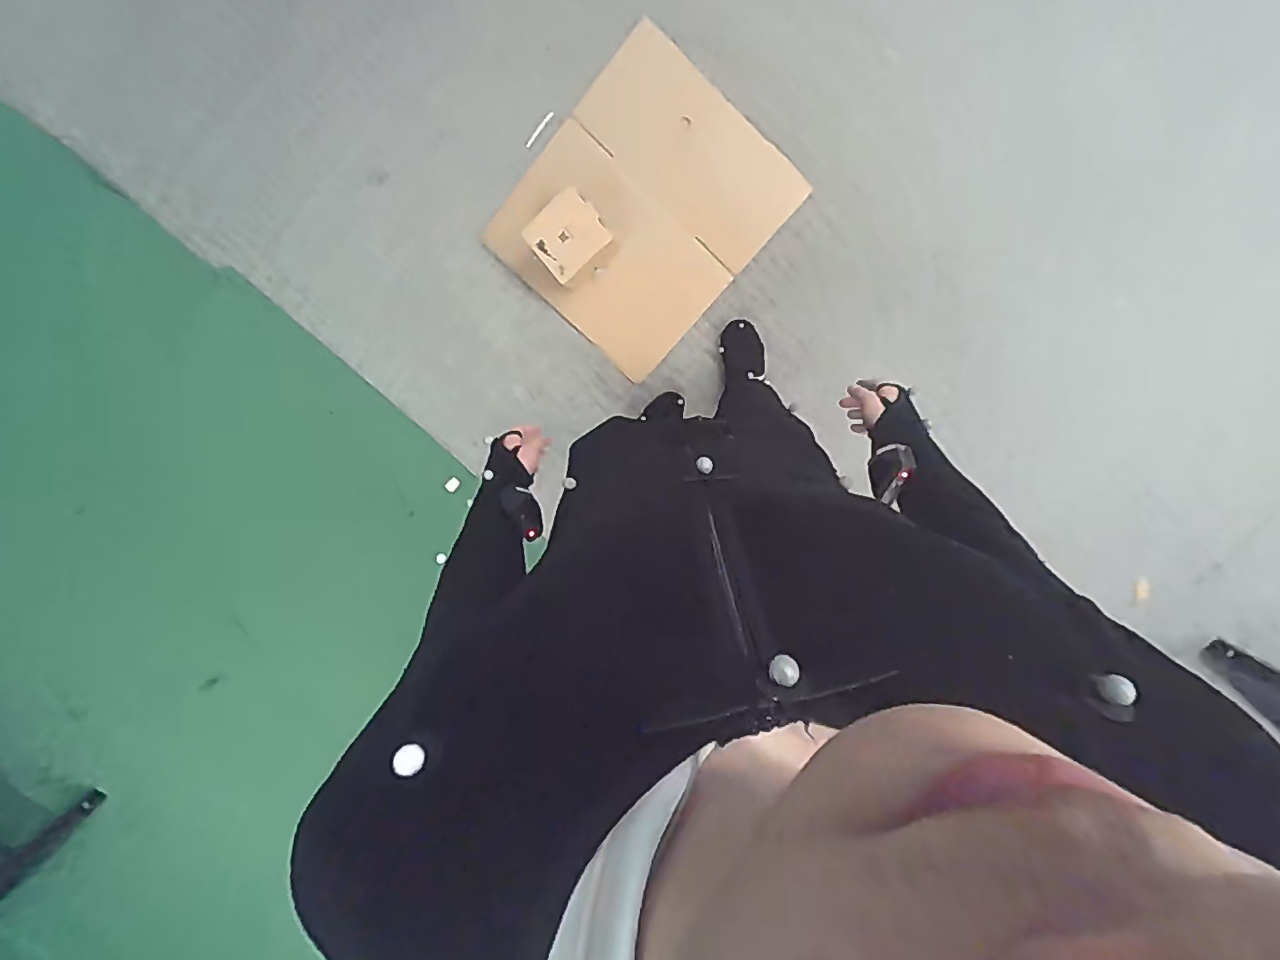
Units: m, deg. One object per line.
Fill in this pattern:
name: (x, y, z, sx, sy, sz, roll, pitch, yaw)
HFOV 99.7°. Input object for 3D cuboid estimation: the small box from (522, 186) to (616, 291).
small box: (-0.176, -0.622, 1.416, 0.179, 0.176, 0.168, -38, 98, 11)
